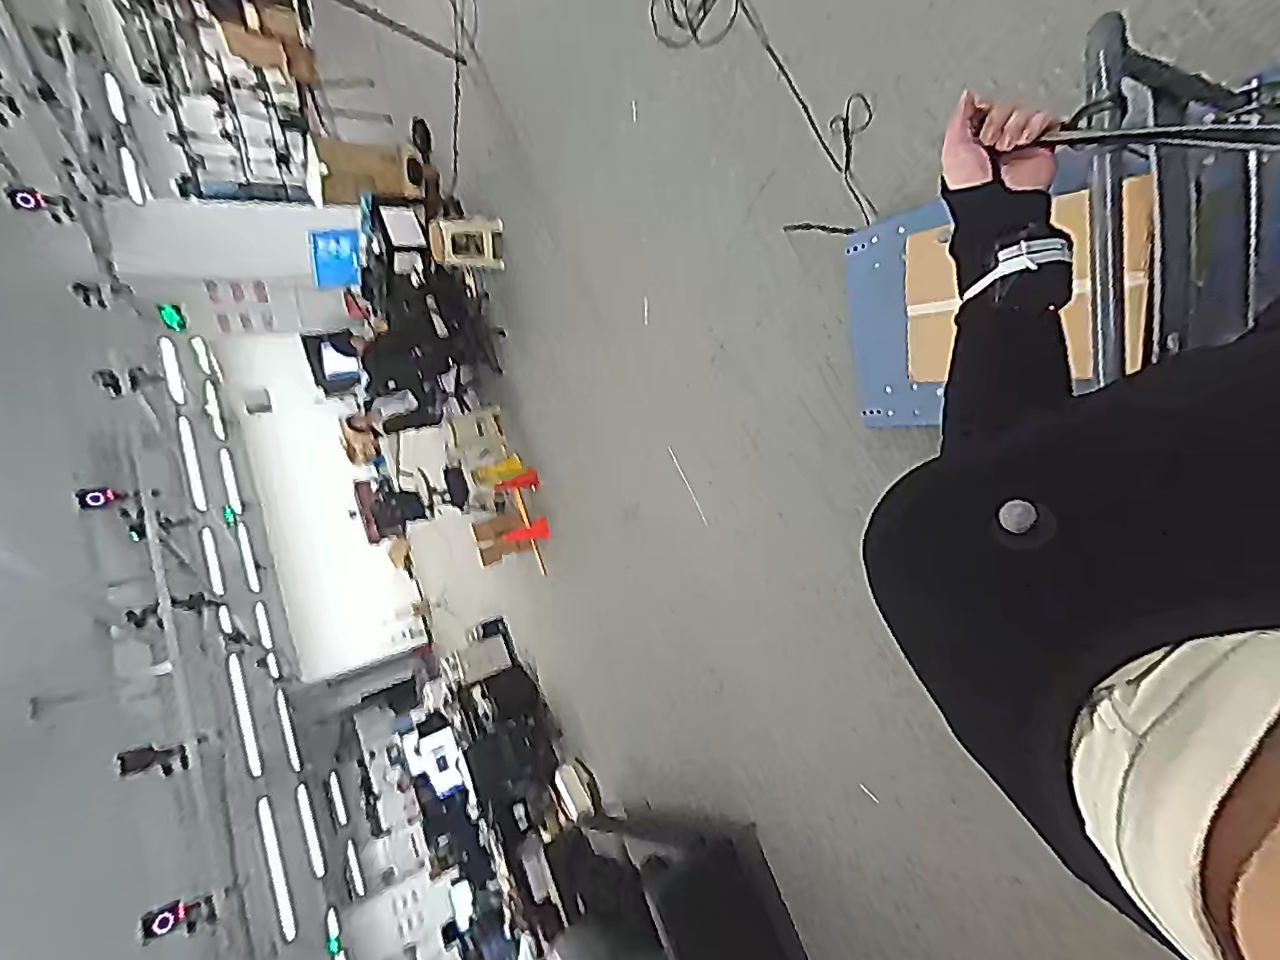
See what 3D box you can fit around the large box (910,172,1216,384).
[{"bbox_3d":[0.823,-0.377,1.083,0.408,0.320,0.320,13,114,56],"label":"large box"}]
